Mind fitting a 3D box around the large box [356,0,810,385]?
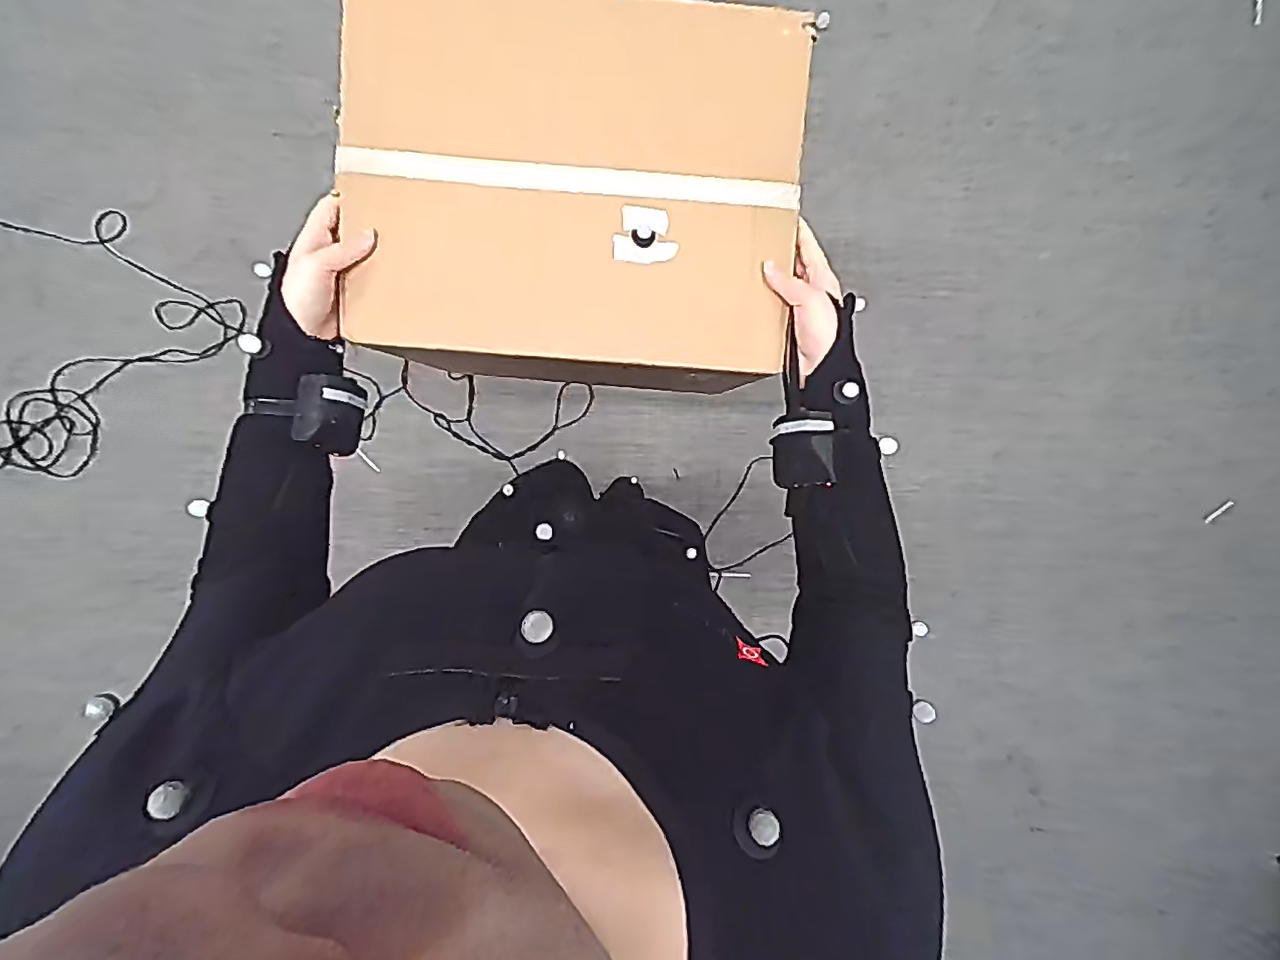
[{"bbox_3d":[-0.062,-0.286,0.635,0.408,0.320,0.320,3,96,-4],"label":"large box"}]
